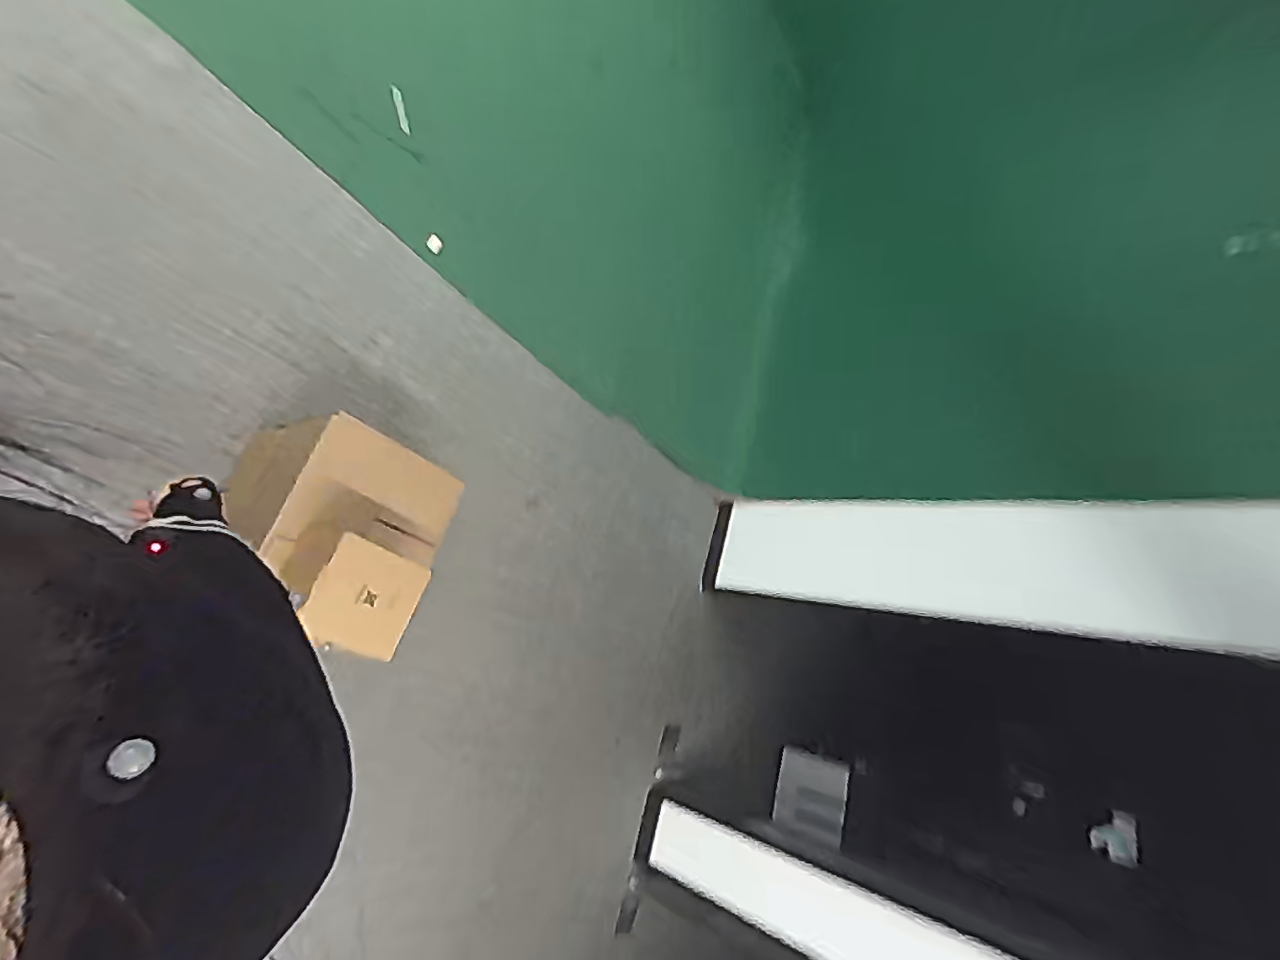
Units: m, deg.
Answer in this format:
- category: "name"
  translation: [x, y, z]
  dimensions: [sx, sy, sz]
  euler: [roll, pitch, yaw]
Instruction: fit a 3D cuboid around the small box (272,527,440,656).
- category: "small box"
  translation: [-0.501, 0.194, 0.954]
  dimensions: [0.179, 0.176, 0.168]
  euler: [42, 57, -41]
